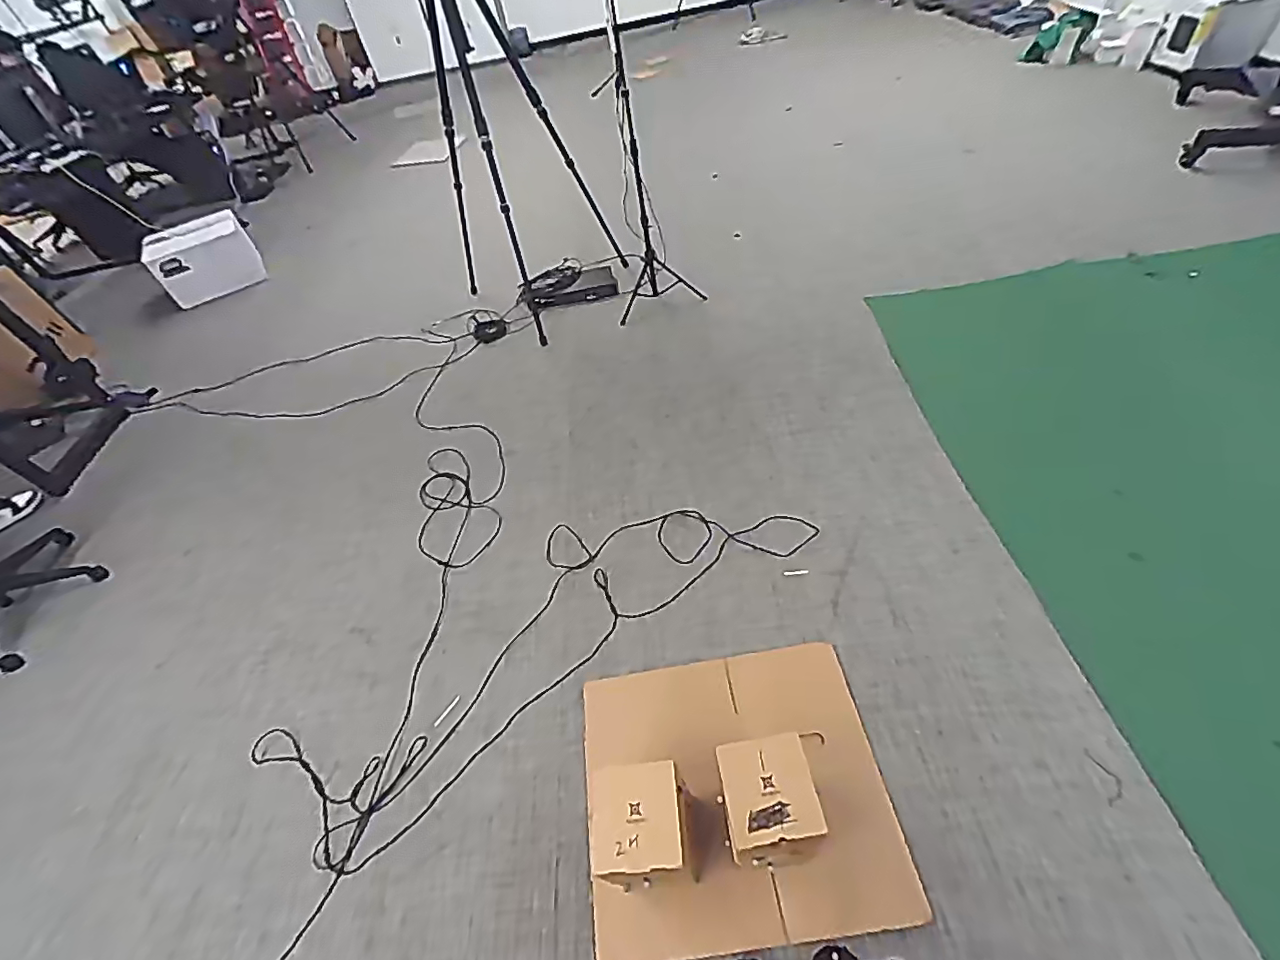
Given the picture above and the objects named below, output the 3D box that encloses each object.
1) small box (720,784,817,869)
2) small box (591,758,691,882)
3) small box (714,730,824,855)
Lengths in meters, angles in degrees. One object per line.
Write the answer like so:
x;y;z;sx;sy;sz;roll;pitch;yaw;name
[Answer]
0.269;0.725;1.180;0.168;0.176;0.179;-11;49;2;small box
0.003;0.669;1.060;0.168;0.176;0.179;-9;49;5;small box
0.246;0.617;1.058;0.168;0.176;0.179;-11;48;1;small box
